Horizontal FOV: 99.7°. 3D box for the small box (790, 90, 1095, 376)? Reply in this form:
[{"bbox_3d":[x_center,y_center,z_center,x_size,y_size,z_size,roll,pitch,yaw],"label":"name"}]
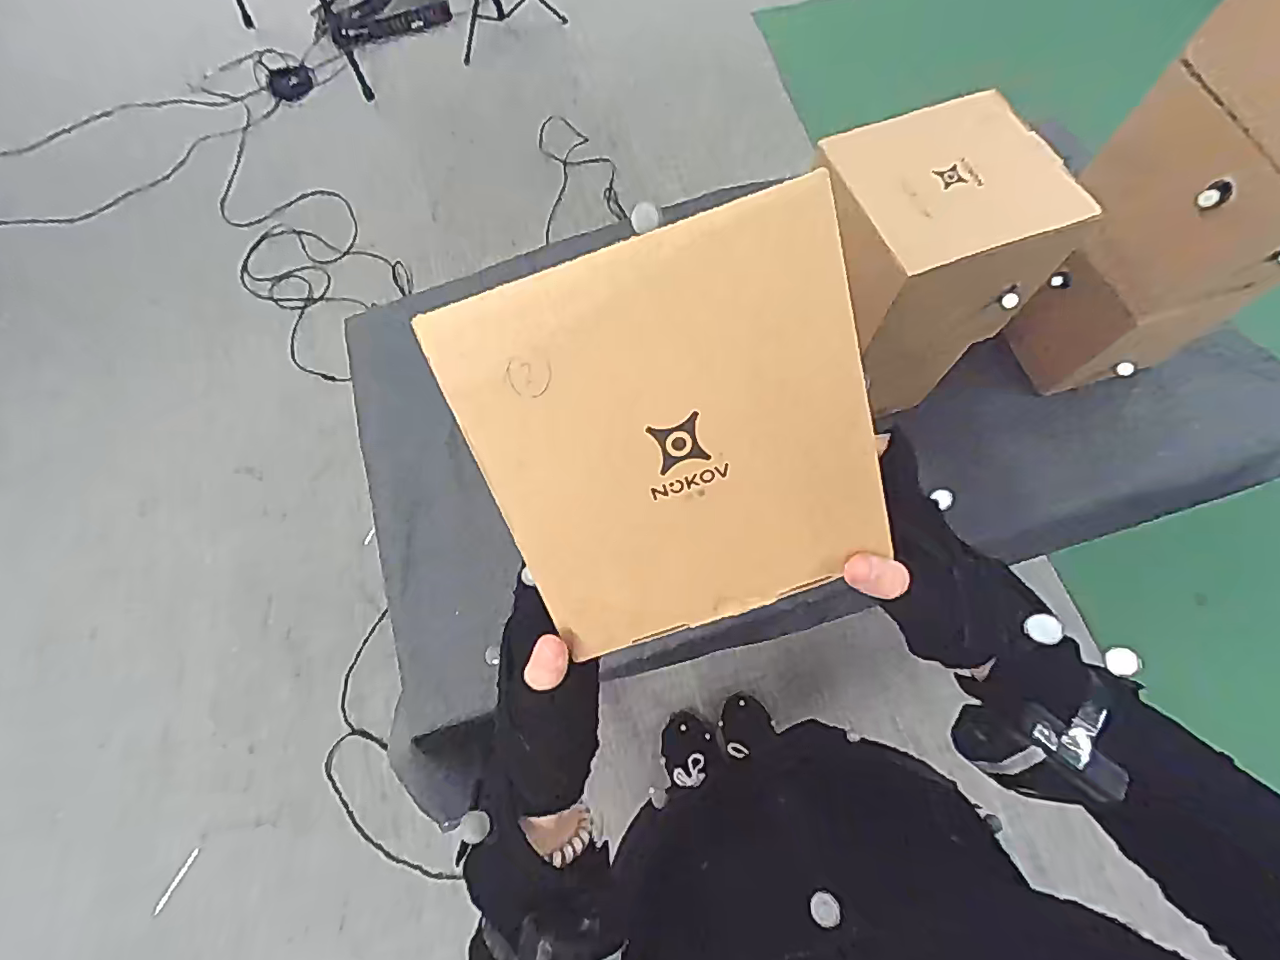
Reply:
[{"bbox_3d":[0.273,-0.232,0.538,0.179,0.176,0.168,-18,69,-3],"label":"small box"}]

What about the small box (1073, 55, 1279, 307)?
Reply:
[{"bbox_3d":[0.587,-0.297,0.540,0.168,0.176,0.179,-14,70,-1],"label":"small box"}]
